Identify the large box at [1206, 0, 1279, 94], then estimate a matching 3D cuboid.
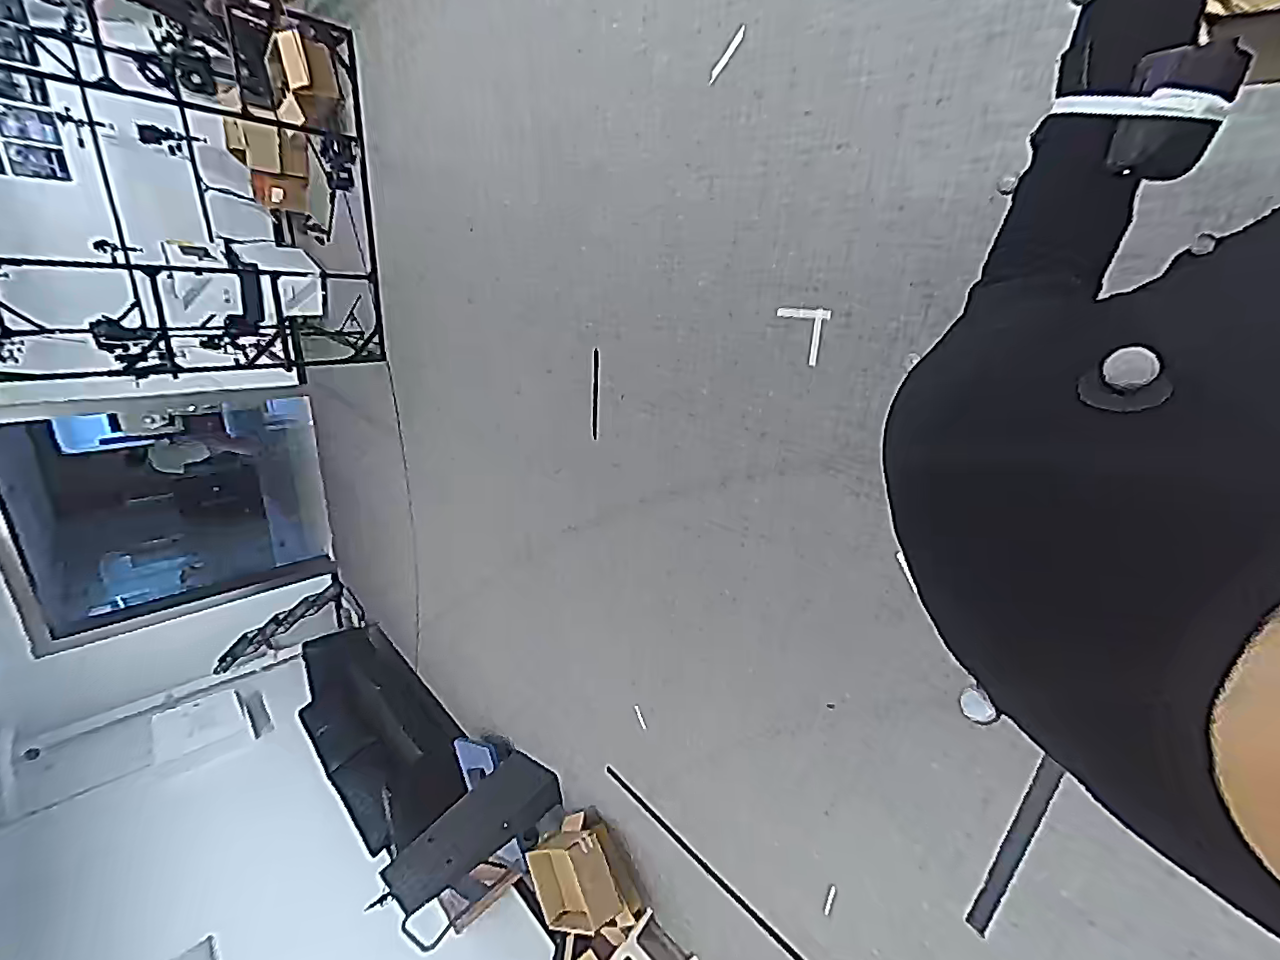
[{"bbox_3d":[0.574,-0.389,0.224,0.408,0.320,0.320,24,127,38],"label":"large box"}]
